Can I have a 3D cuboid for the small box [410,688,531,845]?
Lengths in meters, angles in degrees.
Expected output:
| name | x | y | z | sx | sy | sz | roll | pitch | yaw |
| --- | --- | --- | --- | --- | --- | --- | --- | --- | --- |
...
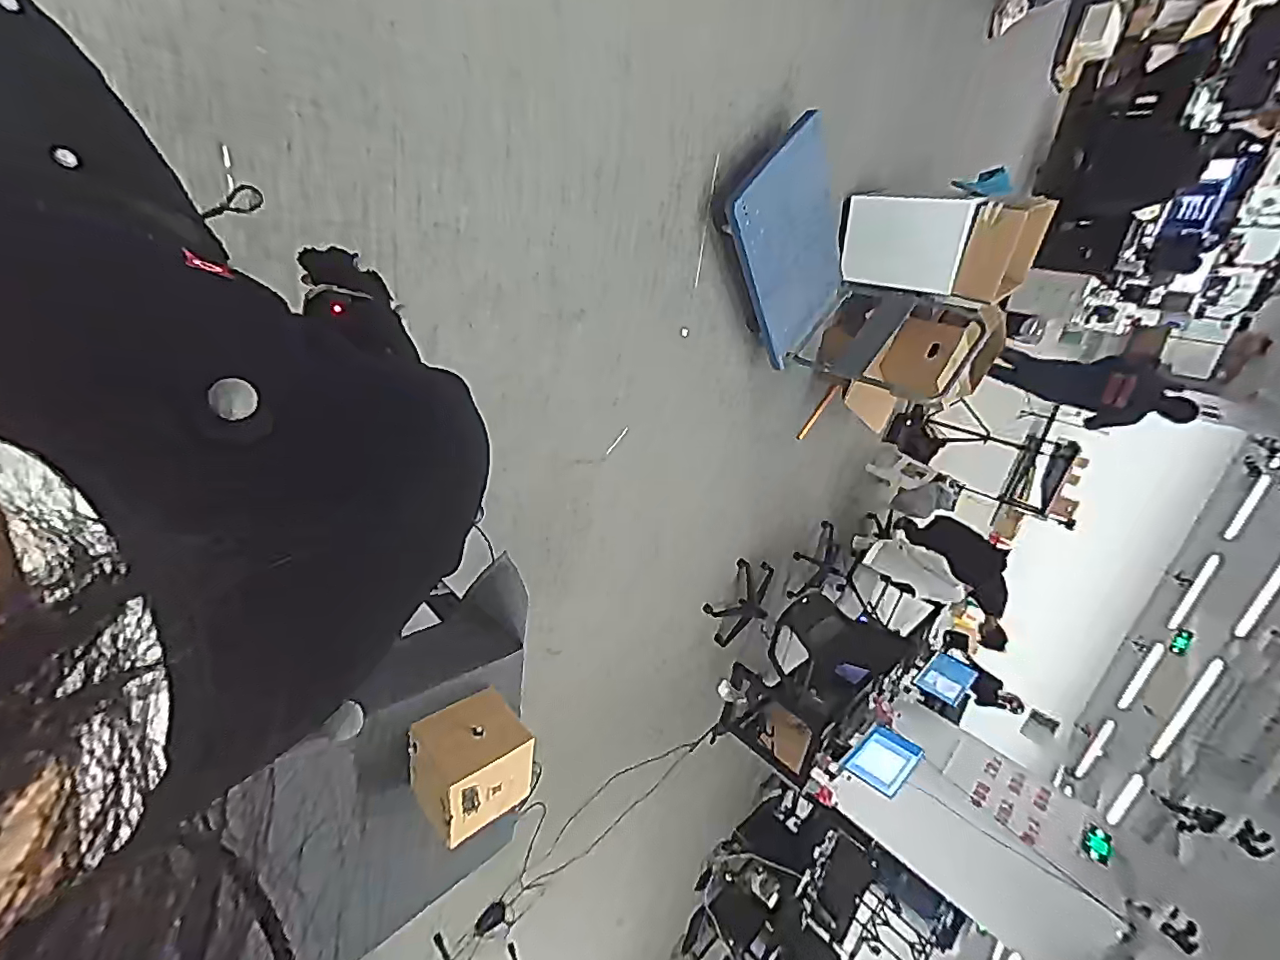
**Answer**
| name | x | y | z | sx | sy | sz | roll | pitch | yaw |
| --- | --- | --- | --- | --- | --- | --- | --- | --- | --- |
| small box | -0.339 | 0.552 | 1.066 | 0.179 | 0.176 | 0.168 | -15 | 122 | -43 |
